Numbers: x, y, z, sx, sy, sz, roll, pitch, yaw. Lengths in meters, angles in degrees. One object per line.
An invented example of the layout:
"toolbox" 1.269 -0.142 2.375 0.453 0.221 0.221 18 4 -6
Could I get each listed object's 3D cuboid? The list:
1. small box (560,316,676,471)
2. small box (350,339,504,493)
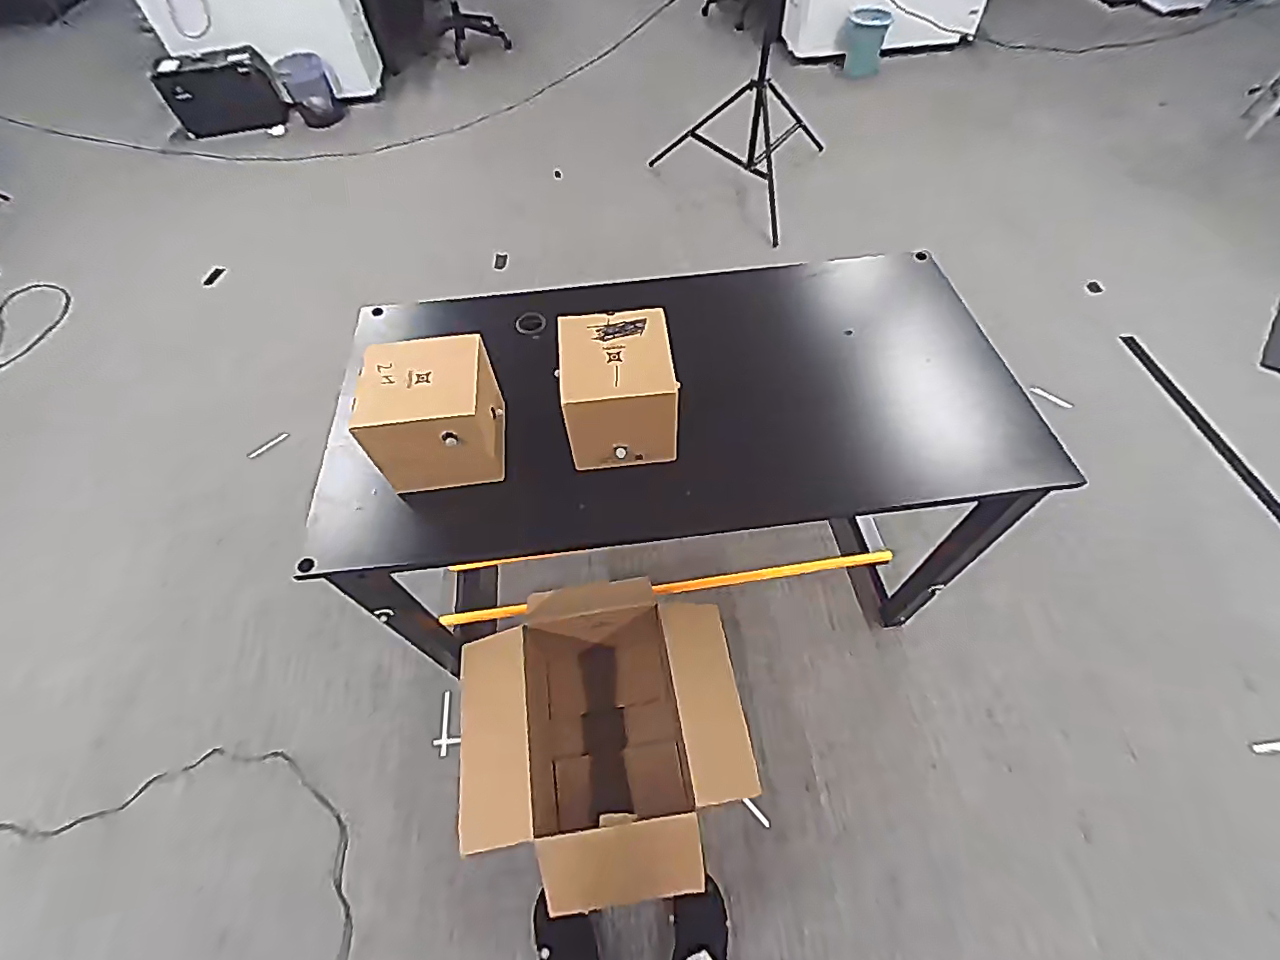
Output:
"small box" -0.036 -0.135 0.867 0.168 0.176 0.179 -6 57 -1
"small box" -0.318 -0.097 0.852 0.179 0.176 0.168 -7 56 -3
